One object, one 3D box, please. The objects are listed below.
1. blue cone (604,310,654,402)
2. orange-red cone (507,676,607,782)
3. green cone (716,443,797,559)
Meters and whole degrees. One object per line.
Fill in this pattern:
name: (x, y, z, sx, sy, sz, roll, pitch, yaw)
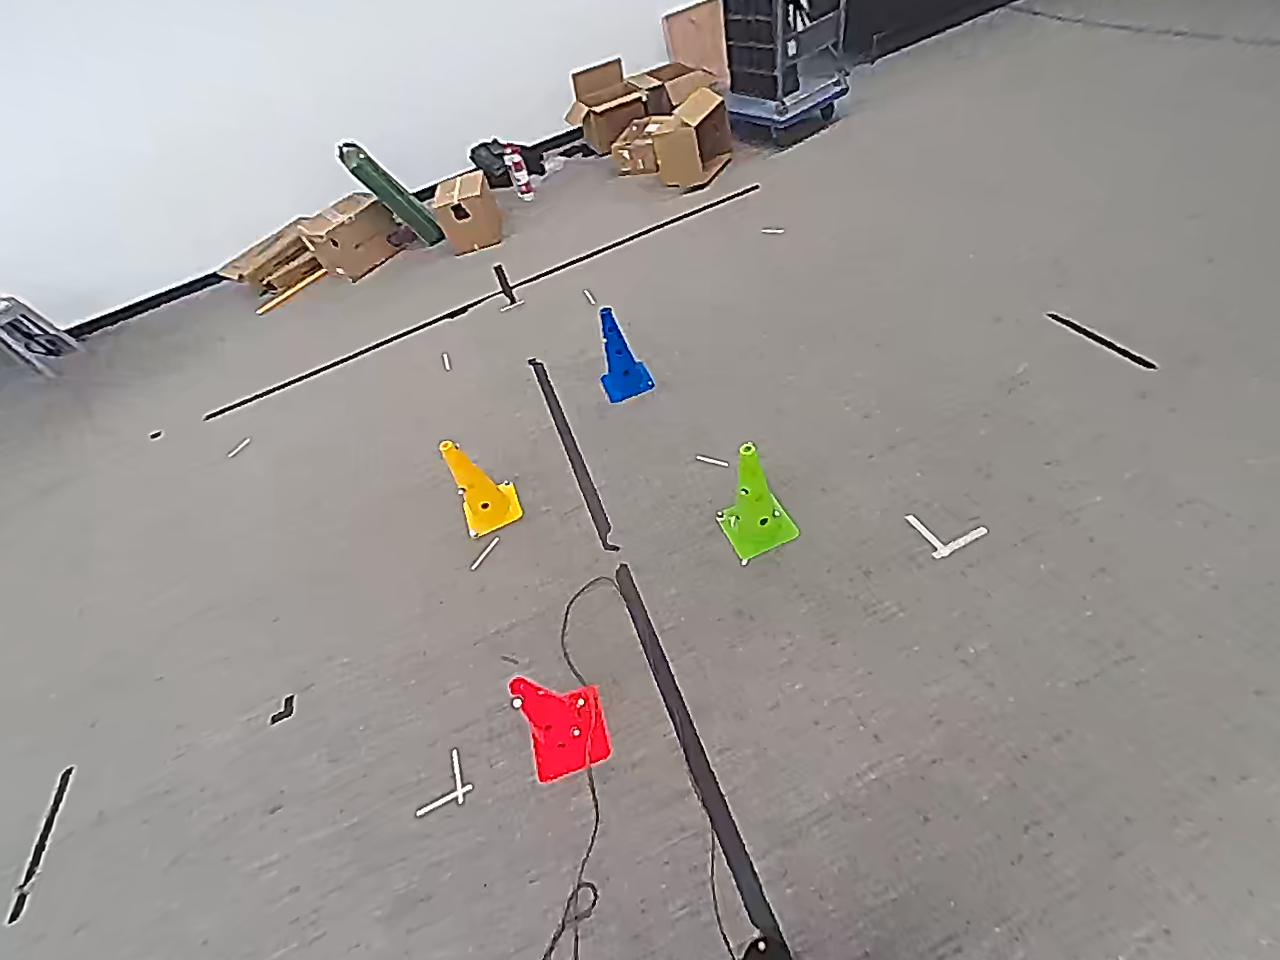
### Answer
blue cone: (-0.084, -0.515, 2.187, 0.192, 0.380, 0.193, -20, 48, -2)
orange-red cone: (-0.233, 0.558, 1.300, 0.199, 0.360, 0.198, -21, 46, 0)
green cone: (0.327, 0.034, 1.575, 0.202, 0.368, 0.200, -23, 48, -5)
